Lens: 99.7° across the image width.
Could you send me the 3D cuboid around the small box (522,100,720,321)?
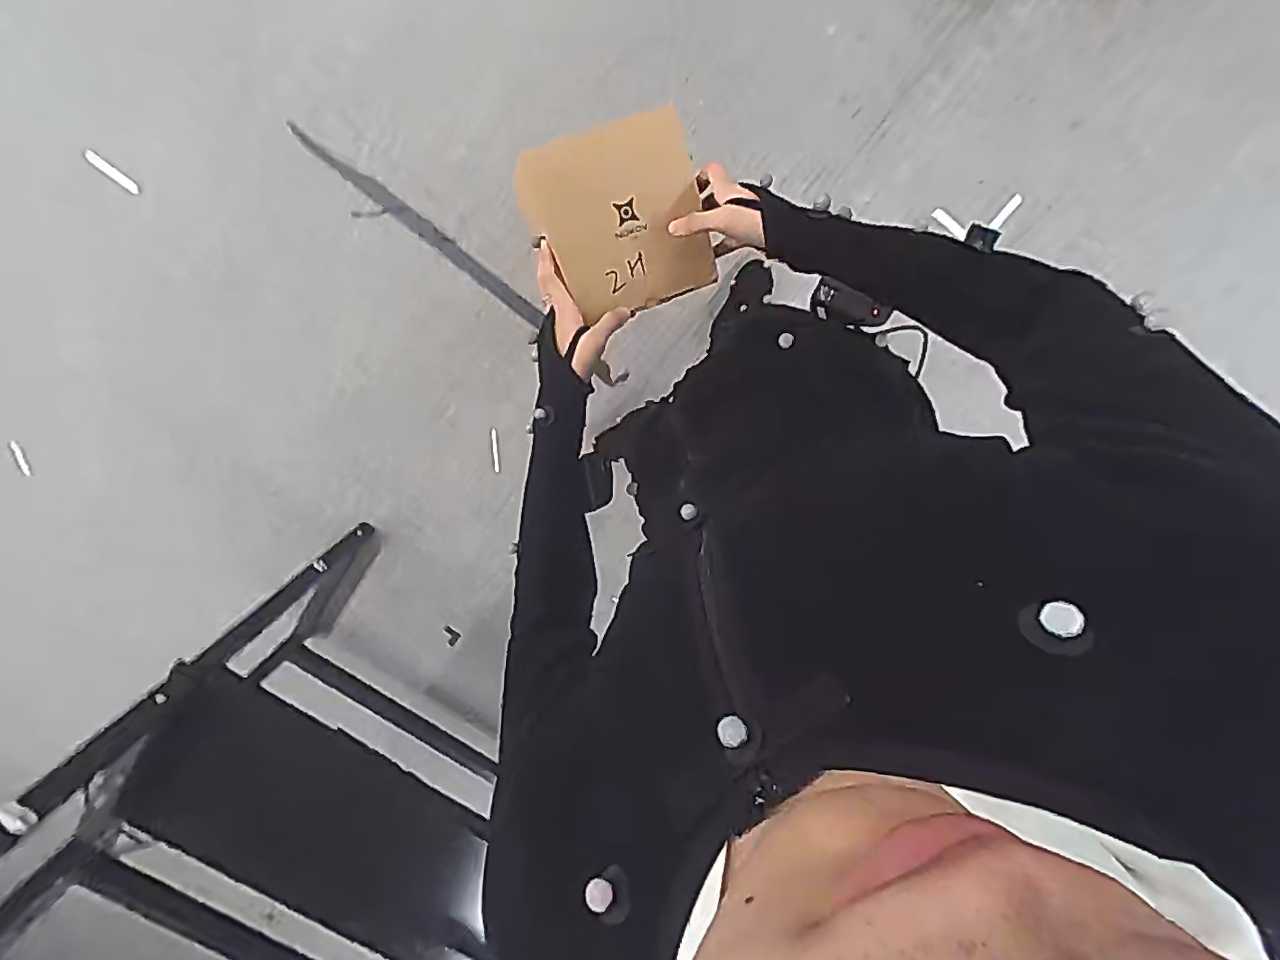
[{"bbox_3d":[-0.030,-0.295,0.624,0.168,0.176,0.179,-21,113,-7],"label":"small box"}]
